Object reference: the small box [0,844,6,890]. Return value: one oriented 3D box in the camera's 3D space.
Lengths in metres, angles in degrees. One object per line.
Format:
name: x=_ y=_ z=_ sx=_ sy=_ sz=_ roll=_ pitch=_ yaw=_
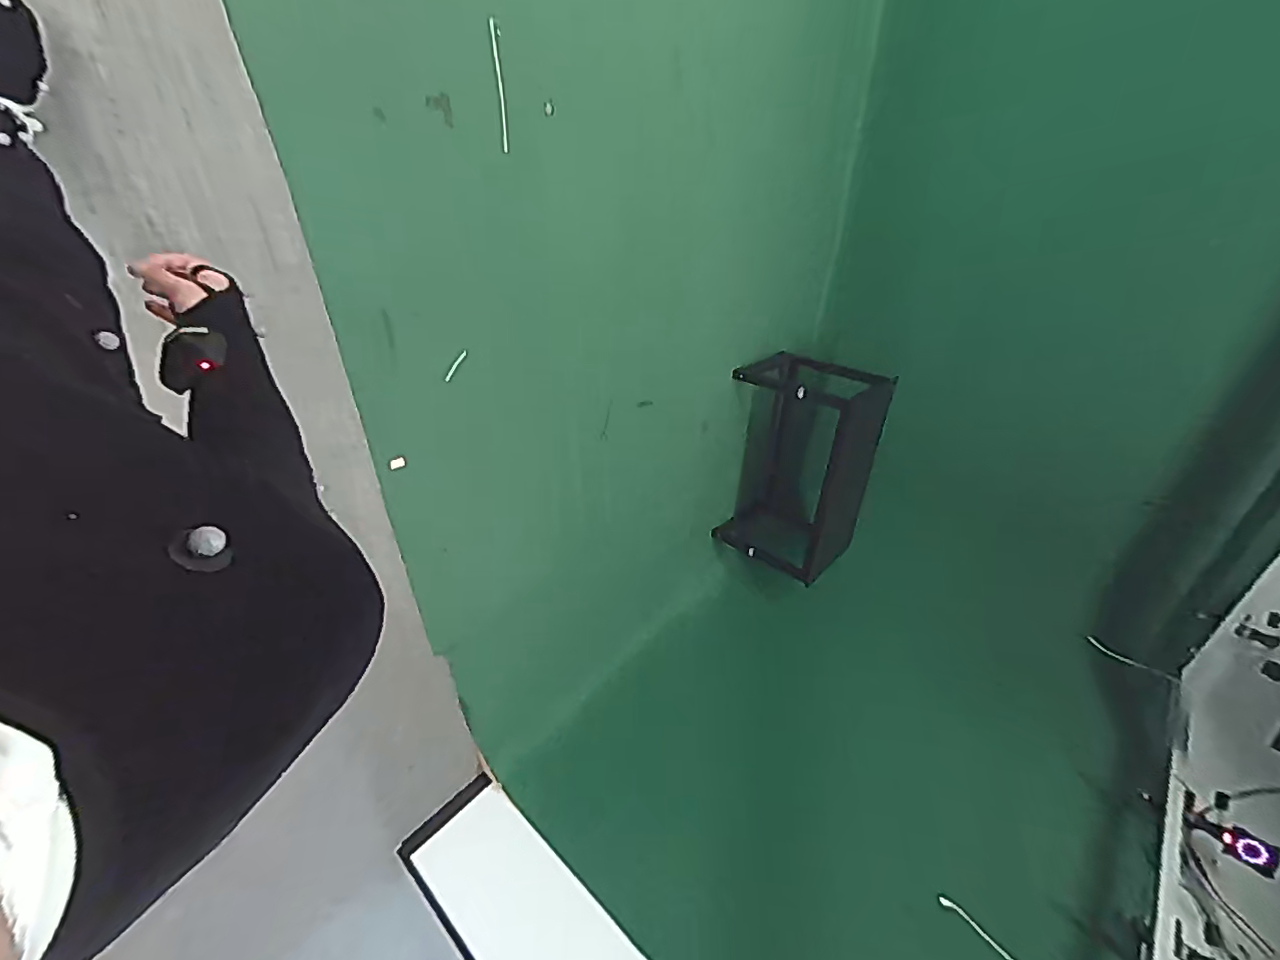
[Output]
small box: x=-1.165 y=0.600 z=0.850 sx=0.168 sy=0.176 sz=0.179 roll=-26 pitch=131 yaw=-42
